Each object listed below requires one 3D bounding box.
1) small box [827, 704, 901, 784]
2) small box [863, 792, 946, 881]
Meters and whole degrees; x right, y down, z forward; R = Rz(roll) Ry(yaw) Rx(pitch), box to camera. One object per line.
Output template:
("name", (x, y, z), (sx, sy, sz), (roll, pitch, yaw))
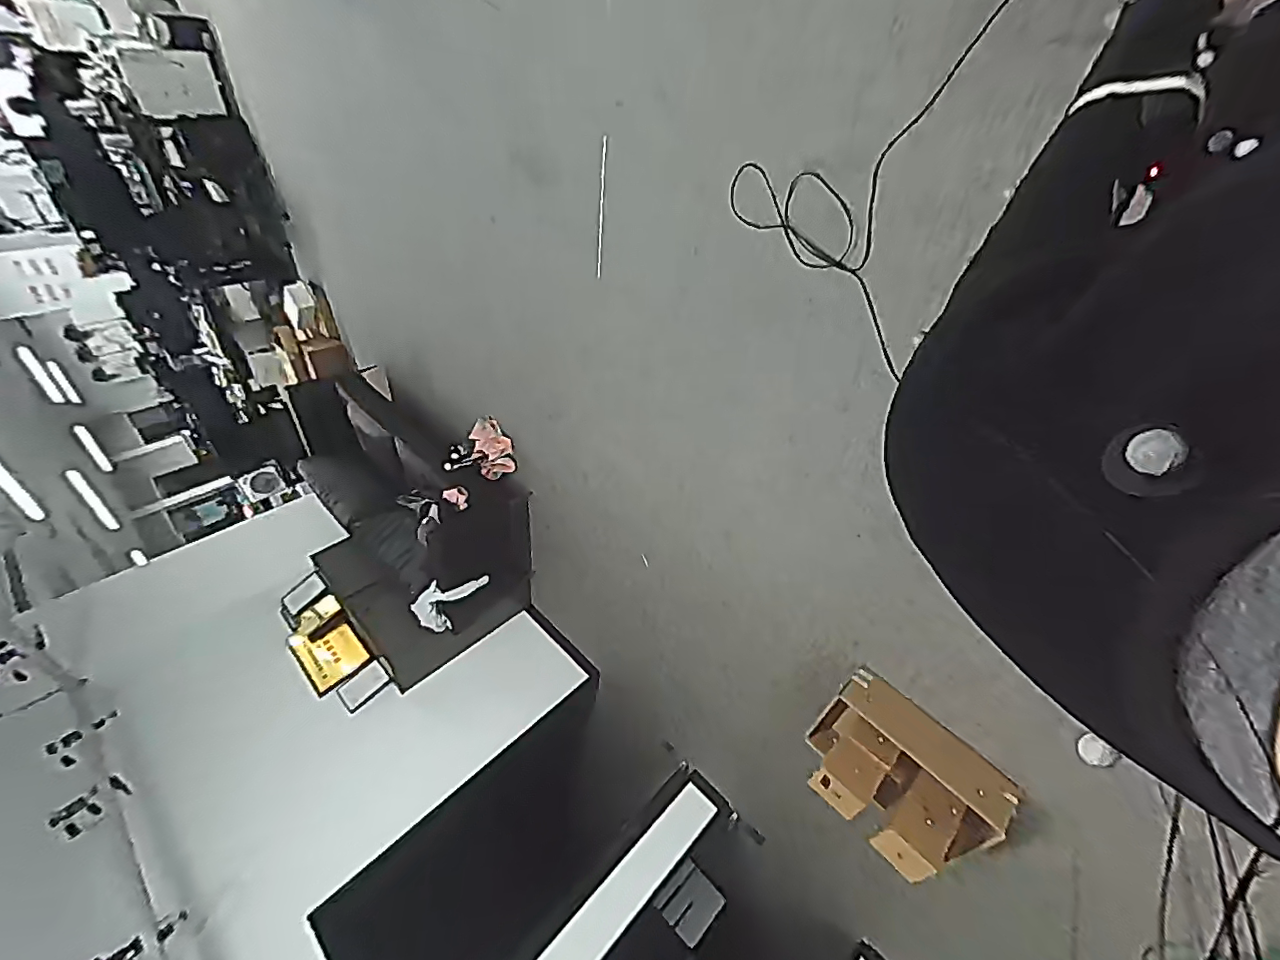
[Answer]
("small box", (0.844, 0.987, 2.030), (0.179, 0.176, 0.168), (35, 136, 27))
("small box", (0.900, 1.204, 1.832), (0.168, 0.176, 0.179), (39, 139, 25))
